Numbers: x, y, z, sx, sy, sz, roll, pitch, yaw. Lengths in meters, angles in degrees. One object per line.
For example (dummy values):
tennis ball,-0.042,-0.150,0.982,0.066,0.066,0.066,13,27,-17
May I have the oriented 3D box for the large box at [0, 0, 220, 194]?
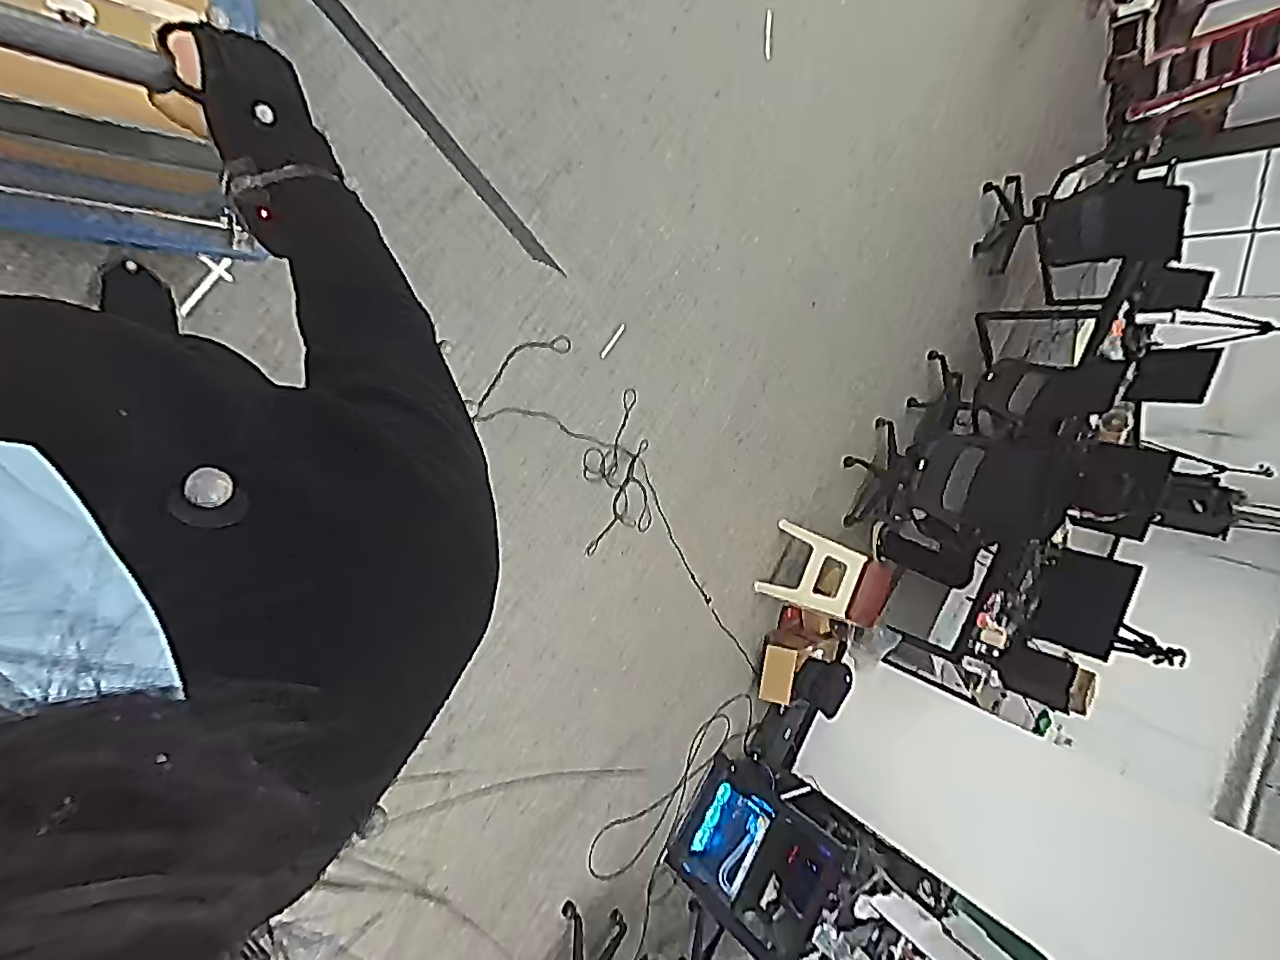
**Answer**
large box,-0.828,-0.610,0.700,0.408,0.320,0.320,-7,107,-42
